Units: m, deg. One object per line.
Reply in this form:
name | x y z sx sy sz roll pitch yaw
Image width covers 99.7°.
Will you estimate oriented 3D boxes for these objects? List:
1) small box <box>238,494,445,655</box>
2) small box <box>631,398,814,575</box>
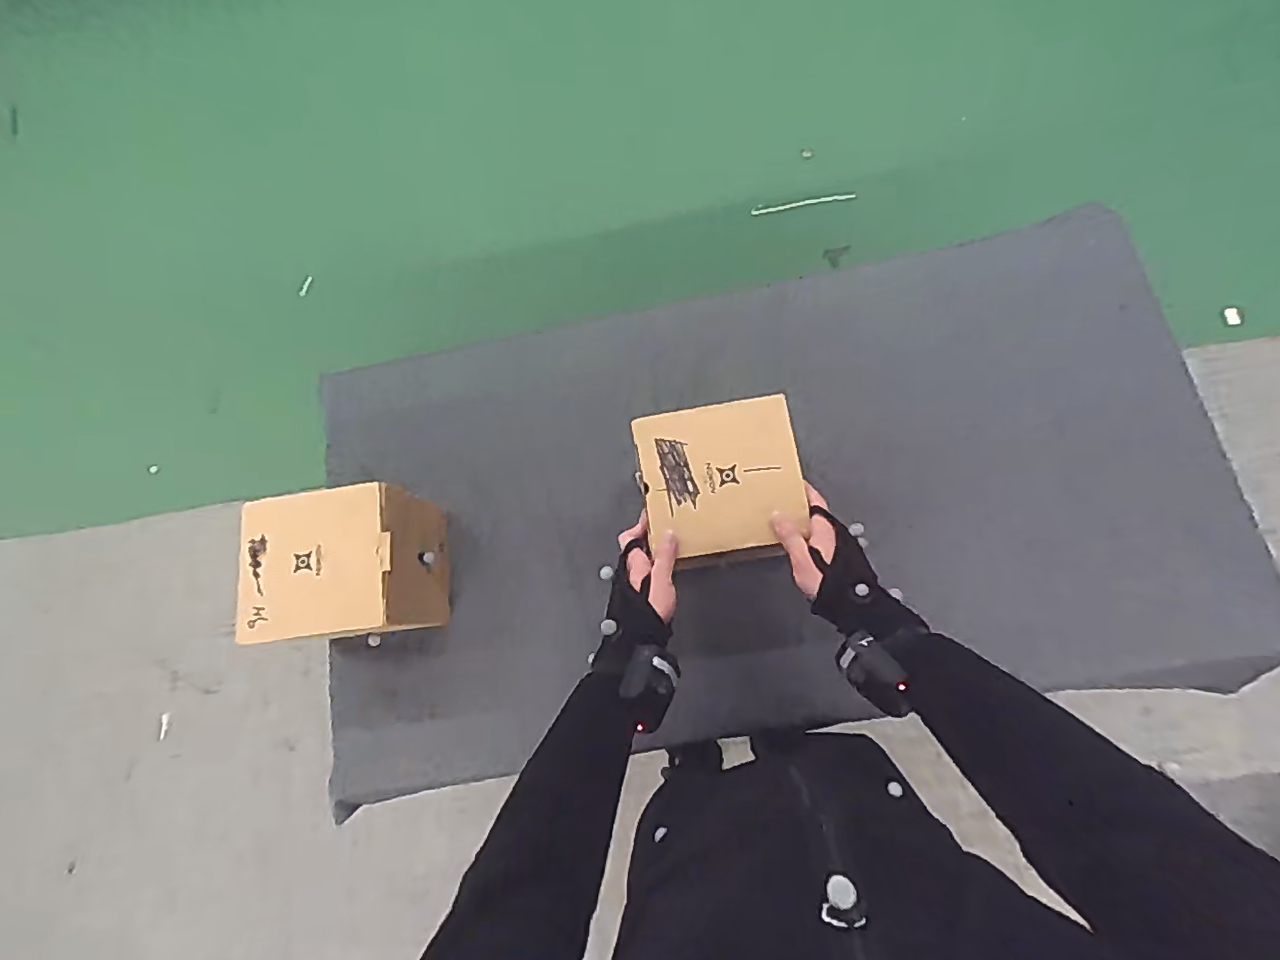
small box | -0.361 0.122 0.688 0.179 0.176 0.168 -8 75 3
small box | 0.094 0.019 0.661 0.179 0.176 0.168 -9 76 3
